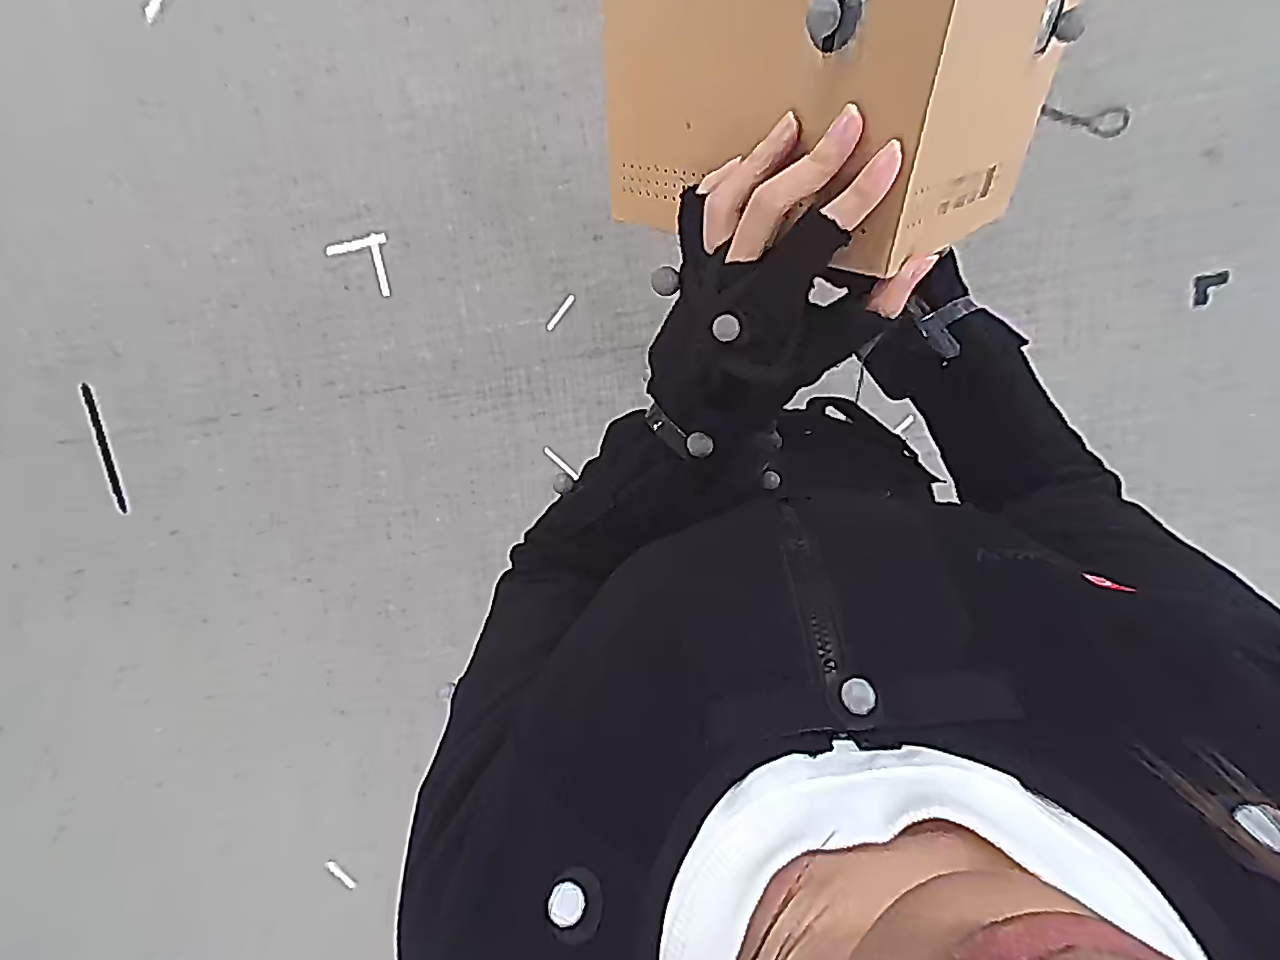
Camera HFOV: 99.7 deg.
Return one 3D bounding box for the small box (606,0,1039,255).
[{"bbox_3d":[0.099,-0.234,0.299,0.179,0.168,0.176,30,136,34],"label":"small box"}]
